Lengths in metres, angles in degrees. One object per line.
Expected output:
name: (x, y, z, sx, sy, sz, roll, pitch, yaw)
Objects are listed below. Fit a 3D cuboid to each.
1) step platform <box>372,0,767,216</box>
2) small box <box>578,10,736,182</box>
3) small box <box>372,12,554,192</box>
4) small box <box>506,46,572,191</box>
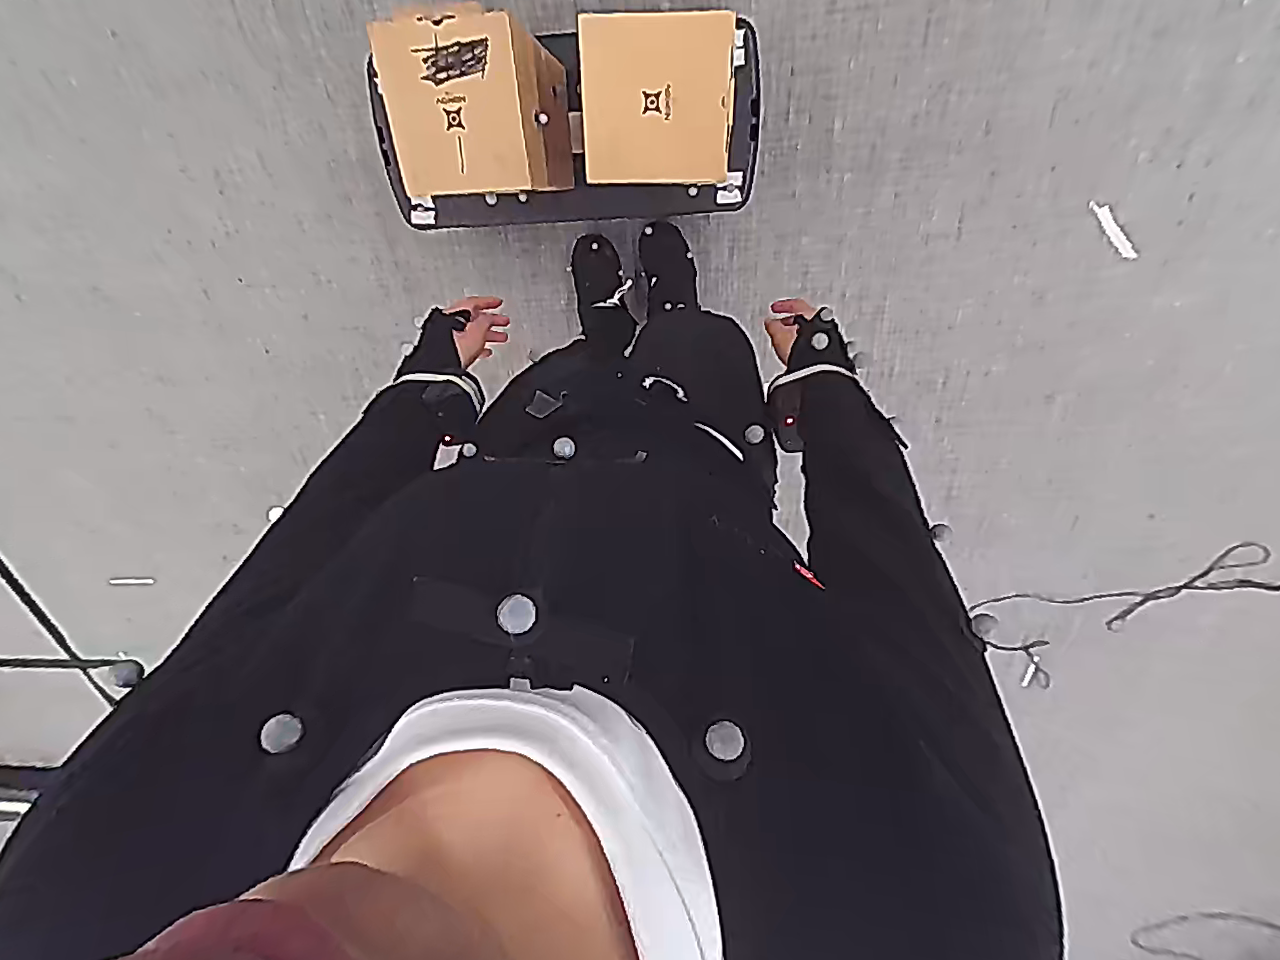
step platform: (-0.115, -0.662, 0.993, 0.684, 0.204, 0.286, -1, 119, 5)
small box: (0.022, -0.481, 0.701, 0.179, 0.176, 0.168, 1, 120, 2)
small box: (-0.215, -0.481, 0.712, 0.168, 0.176, 0.179, 0, 120, 4)
small box: (-0.206, -0.559, 0.857, 0.168, 0.176, 0.179, 0, 120, 3)
